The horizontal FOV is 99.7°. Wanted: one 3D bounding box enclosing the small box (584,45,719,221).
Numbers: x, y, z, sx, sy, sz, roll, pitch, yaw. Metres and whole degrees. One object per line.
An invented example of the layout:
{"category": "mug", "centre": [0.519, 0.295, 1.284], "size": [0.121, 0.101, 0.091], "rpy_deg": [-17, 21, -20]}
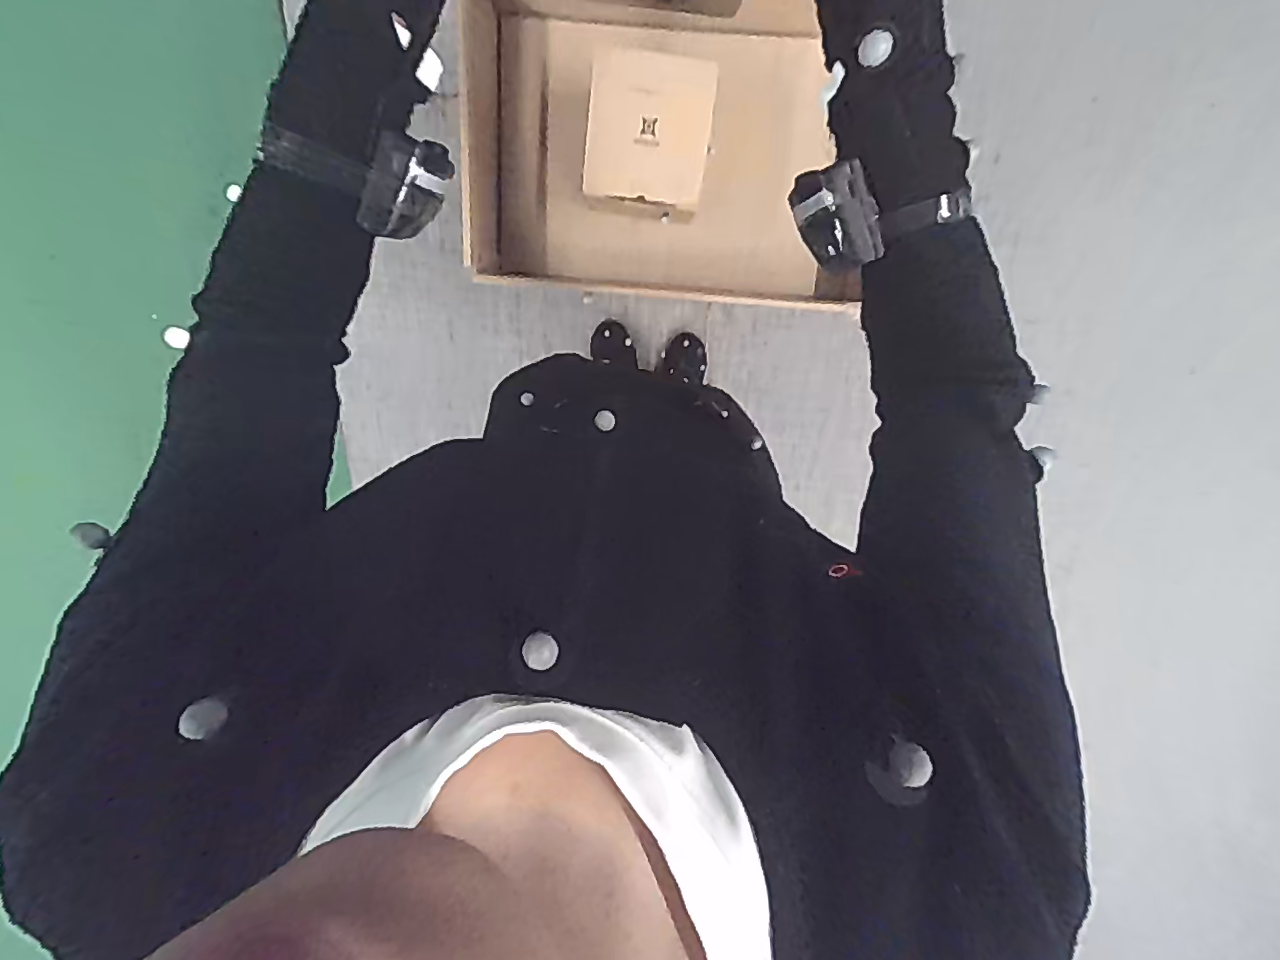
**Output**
{"category": "small box", "centre": [0.014, -0.496, 0.802], "size": [0.168, 0.176, 0.179], "rpy_deg": [6, 107, -2]}
